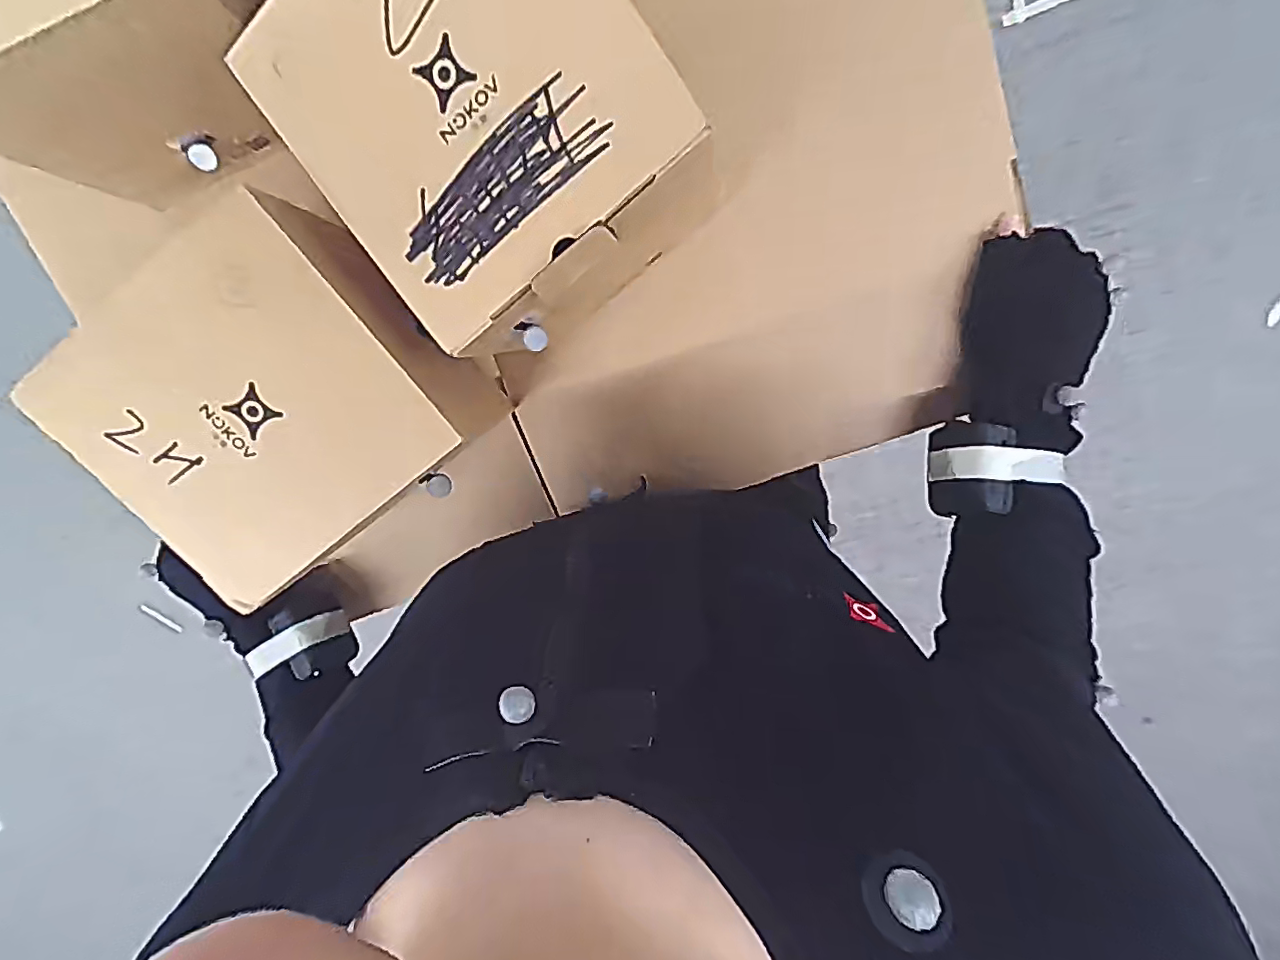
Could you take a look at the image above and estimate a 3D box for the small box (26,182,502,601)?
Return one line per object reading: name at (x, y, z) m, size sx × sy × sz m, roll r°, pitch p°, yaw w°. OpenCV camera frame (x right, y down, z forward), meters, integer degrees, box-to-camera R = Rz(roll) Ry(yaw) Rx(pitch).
small box at (-0.214, -0.058, 0.373) m, size 0.179 × 0.176 × 0.168 m, roll -37°, pitch 102°, yaw 6°
